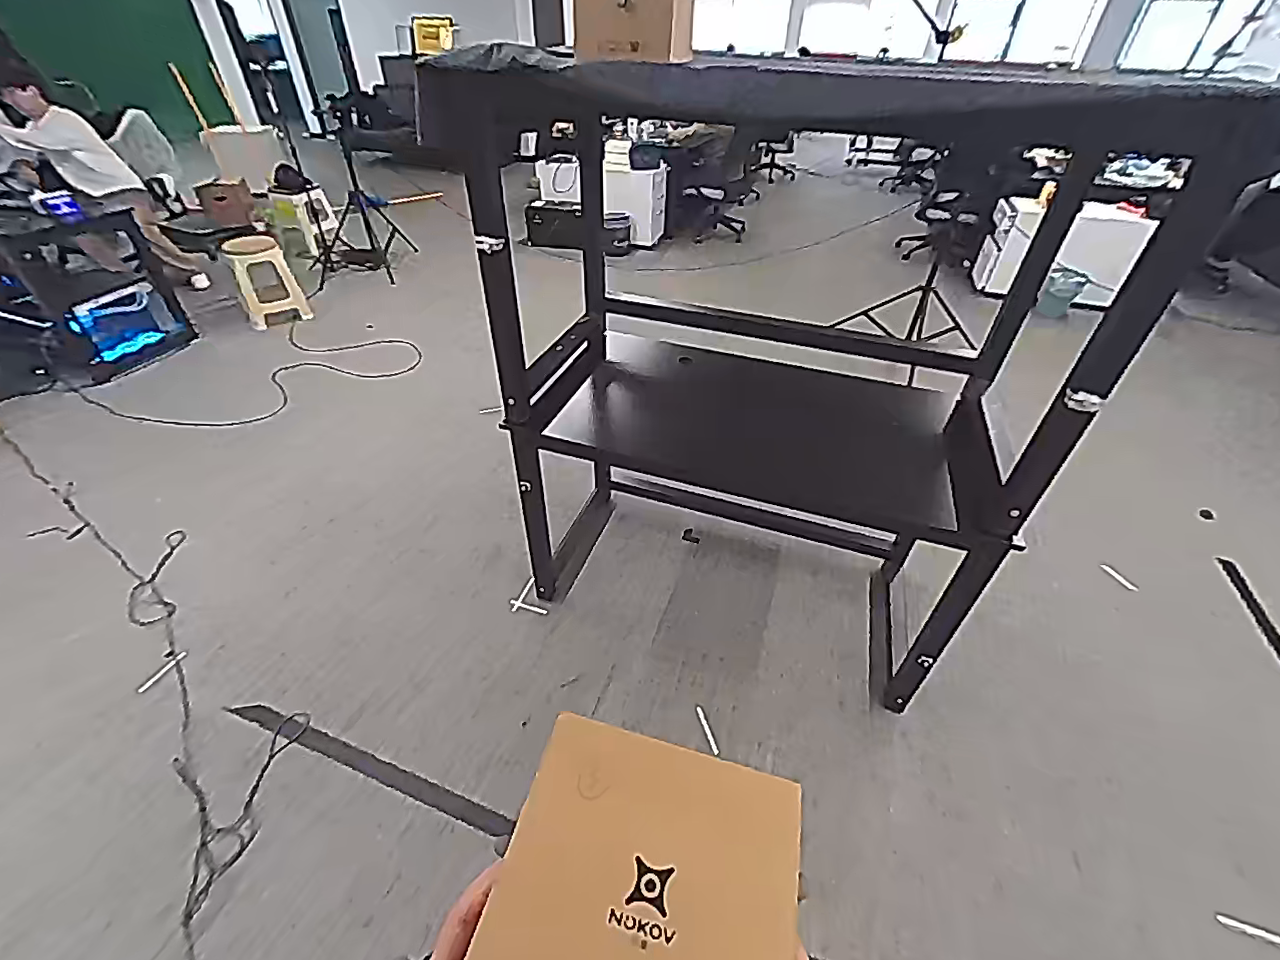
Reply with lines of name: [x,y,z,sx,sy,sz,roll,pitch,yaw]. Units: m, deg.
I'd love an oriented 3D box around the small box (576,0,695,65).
small box: [-0.002,-0.790,0.886,0.168,0.176,0.179,12,40,10]

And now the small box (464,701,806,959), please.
small box: [-0.002,0.282,0.347,0.168,0.176,0.179,14,44,8]
